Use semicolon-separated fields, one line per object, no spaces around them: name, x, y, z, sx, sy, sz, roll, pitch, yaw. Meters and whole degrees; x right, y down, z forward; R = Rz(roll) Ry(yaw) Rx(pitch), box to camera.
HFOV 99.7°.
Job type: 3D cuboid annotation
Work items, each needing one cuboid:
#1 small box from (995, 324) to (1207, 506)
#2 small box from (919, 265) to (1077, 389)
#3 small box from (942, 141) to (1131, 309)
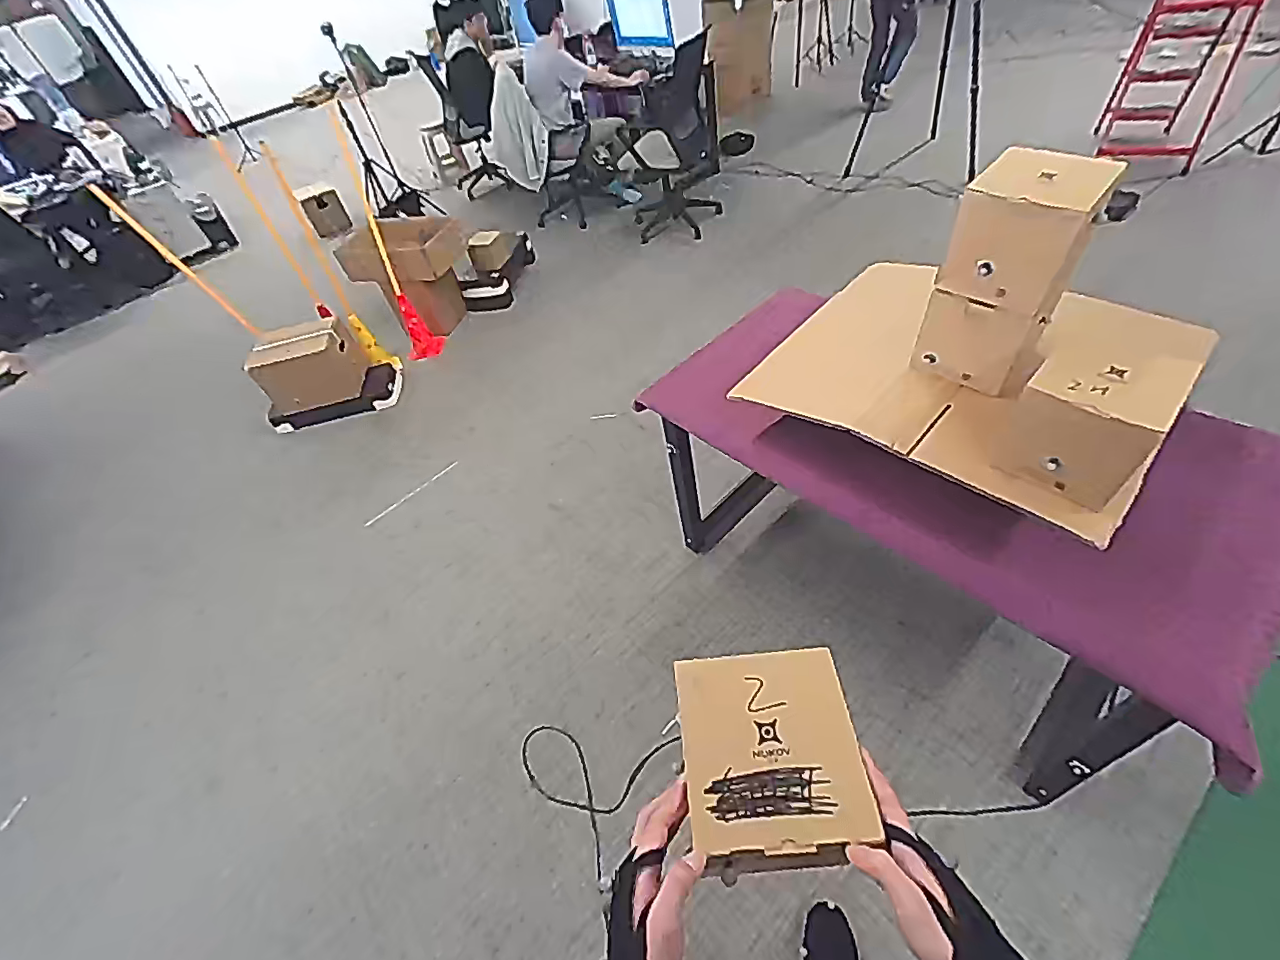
small box;0.673;-0.098;0.811;0.168;0.176;0.179;34;64;32
small box;0.634;-0.296;0.982;0.168;0.176;0.179;34;63;31
small box;0.617;-0.404;0.862;0.168;0.176;0.179;33;64;30
